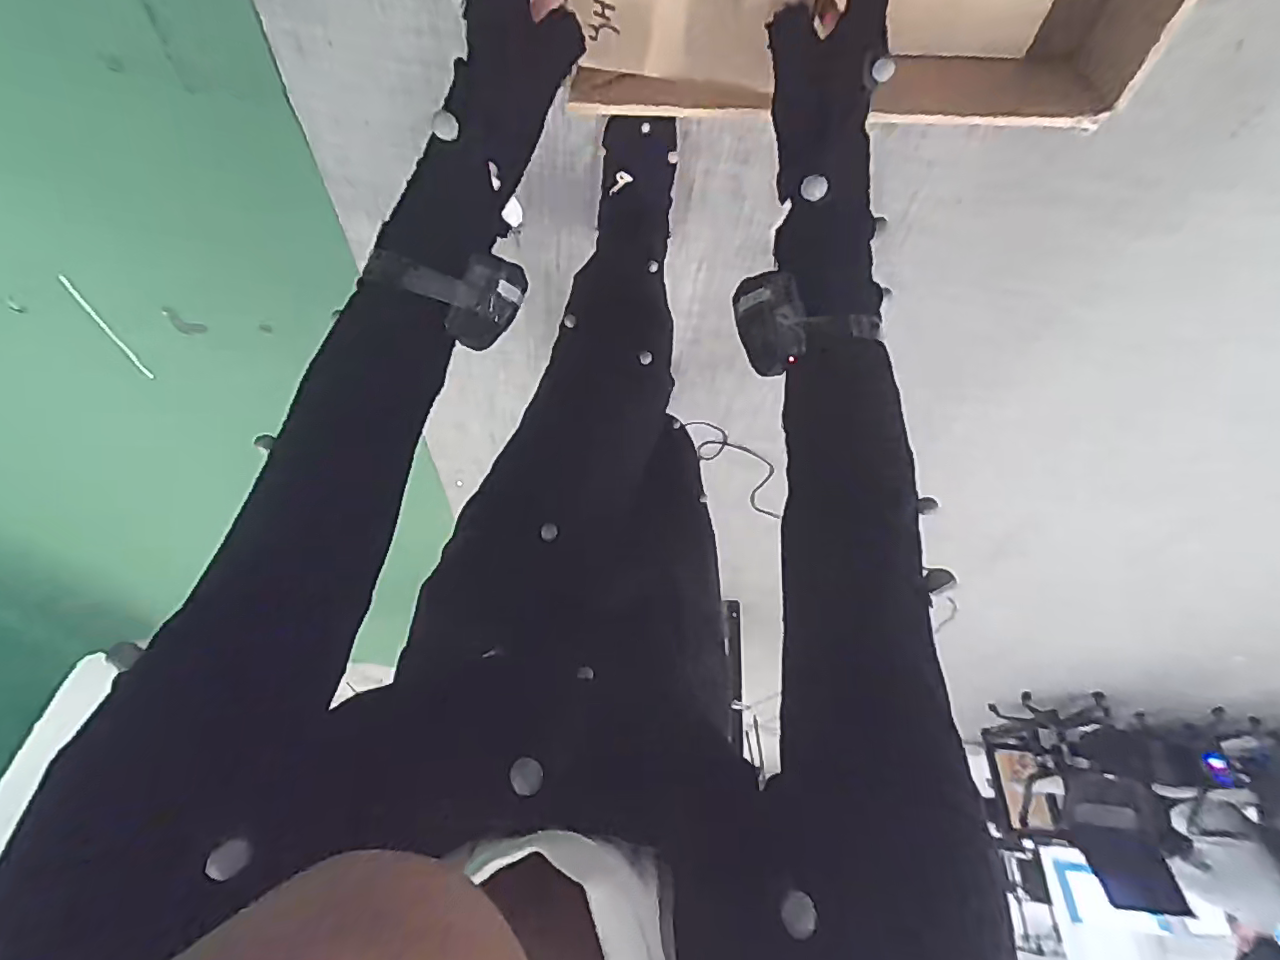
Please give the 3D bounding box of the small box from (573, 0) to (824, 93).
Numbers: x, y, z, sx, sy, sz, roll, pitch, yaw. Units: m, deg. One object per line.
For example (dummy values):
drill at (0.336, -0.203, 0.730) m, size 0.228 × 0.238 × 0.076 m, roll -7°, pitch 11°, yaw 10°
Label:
small box at (0.051, -0.420, 0.401) m, size 0.179 × 0.176 × 0.168 m, roll 8°, pitch 140°, yaw 0°
